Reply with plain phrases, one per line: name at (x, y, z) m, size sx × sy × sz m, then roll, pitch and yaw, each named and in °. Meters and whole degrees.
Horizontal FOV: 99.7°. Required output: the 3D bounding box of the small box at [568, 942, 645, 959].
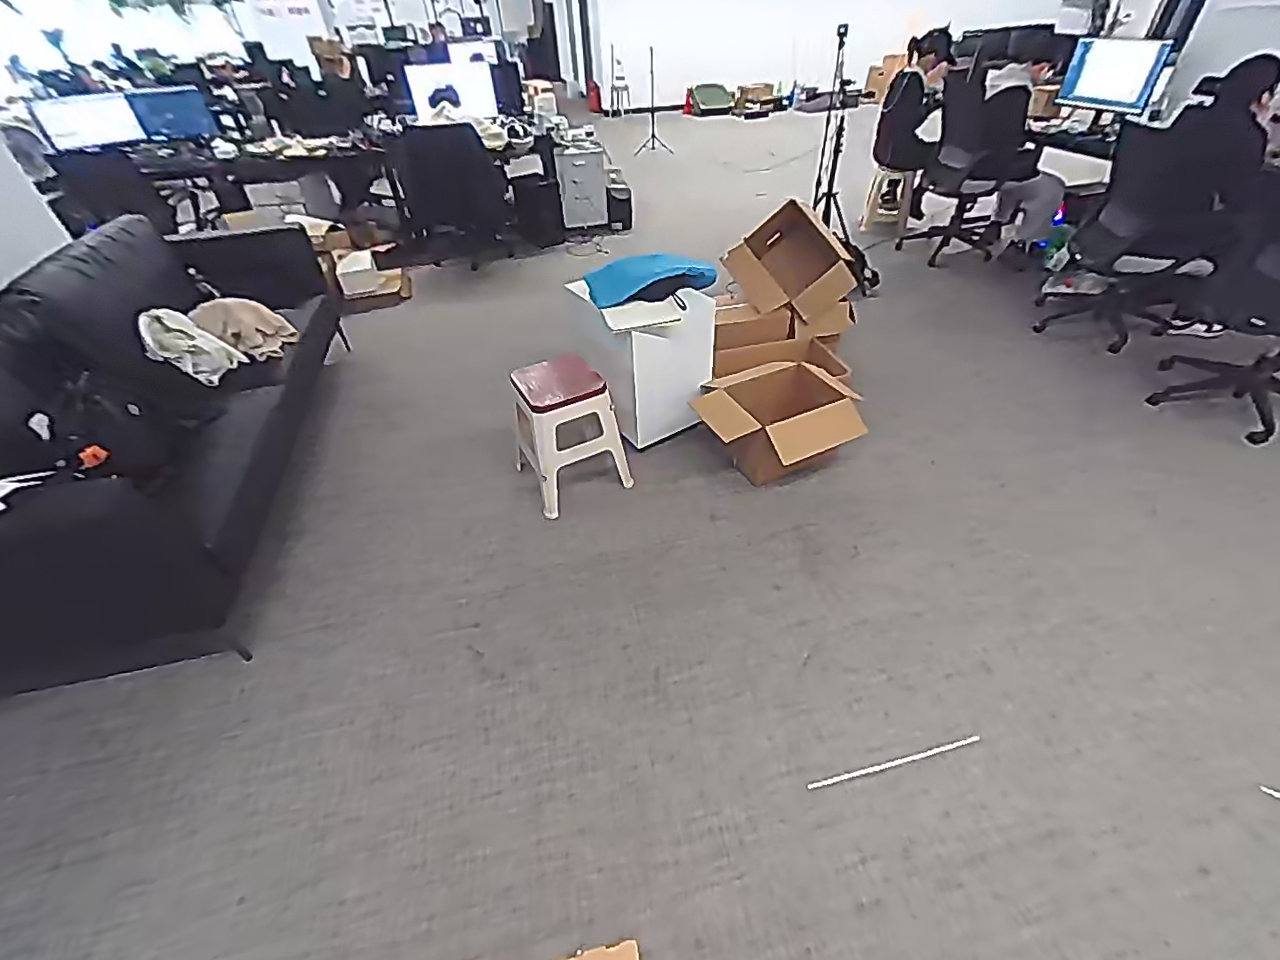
small box at (-0.058, 1.001, 1.002) m, size 0.168 × 0.176 × 0.179 m, roll -10°, pitch 42°, yaw -7°
